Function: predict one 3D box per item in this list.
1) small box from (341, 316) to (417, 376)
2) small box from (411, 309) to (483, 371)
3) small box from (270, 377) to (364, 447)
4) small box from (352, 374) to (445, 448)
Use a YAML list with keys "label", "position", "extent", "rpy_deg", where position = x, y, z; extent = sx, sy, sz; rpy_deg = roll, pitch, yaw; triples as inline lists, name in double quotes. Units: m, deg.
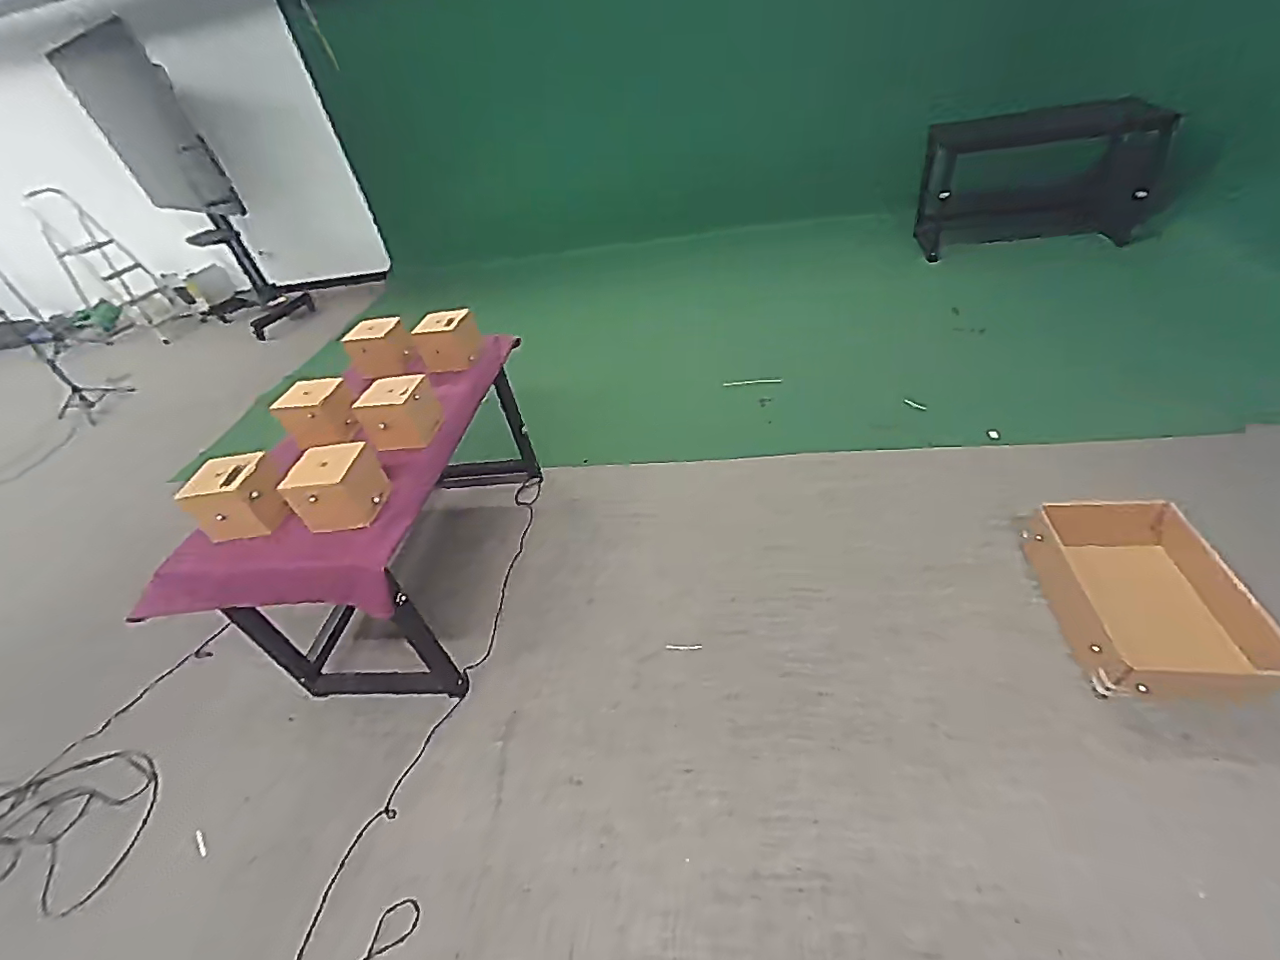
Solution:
- label: "small box"
  position: [-1.009, -0.518, 2.106]
  extent: [0.179, 0.176, 0.168]
  rpy_deg: [-2, 43, 10]
- label: "small box"
  position: [-0.723, -0.528, 2.050]
  extent: [0.179, 0.176, 0.168]
  rpy_deg: [-1, 42, 14]
- label: "small box"
  position: [-1.053, -0.222, 1.783]
  extent: [0.179, 0.176, 0.168]
  rpy_deg: [-2, 41, 9]
- label: "small box"
  position: [-0.750, -0.213, 1.699]
  extent: [0.179, 0.176, 0.168]
  rpy_deg: [-3, 42, 12]
